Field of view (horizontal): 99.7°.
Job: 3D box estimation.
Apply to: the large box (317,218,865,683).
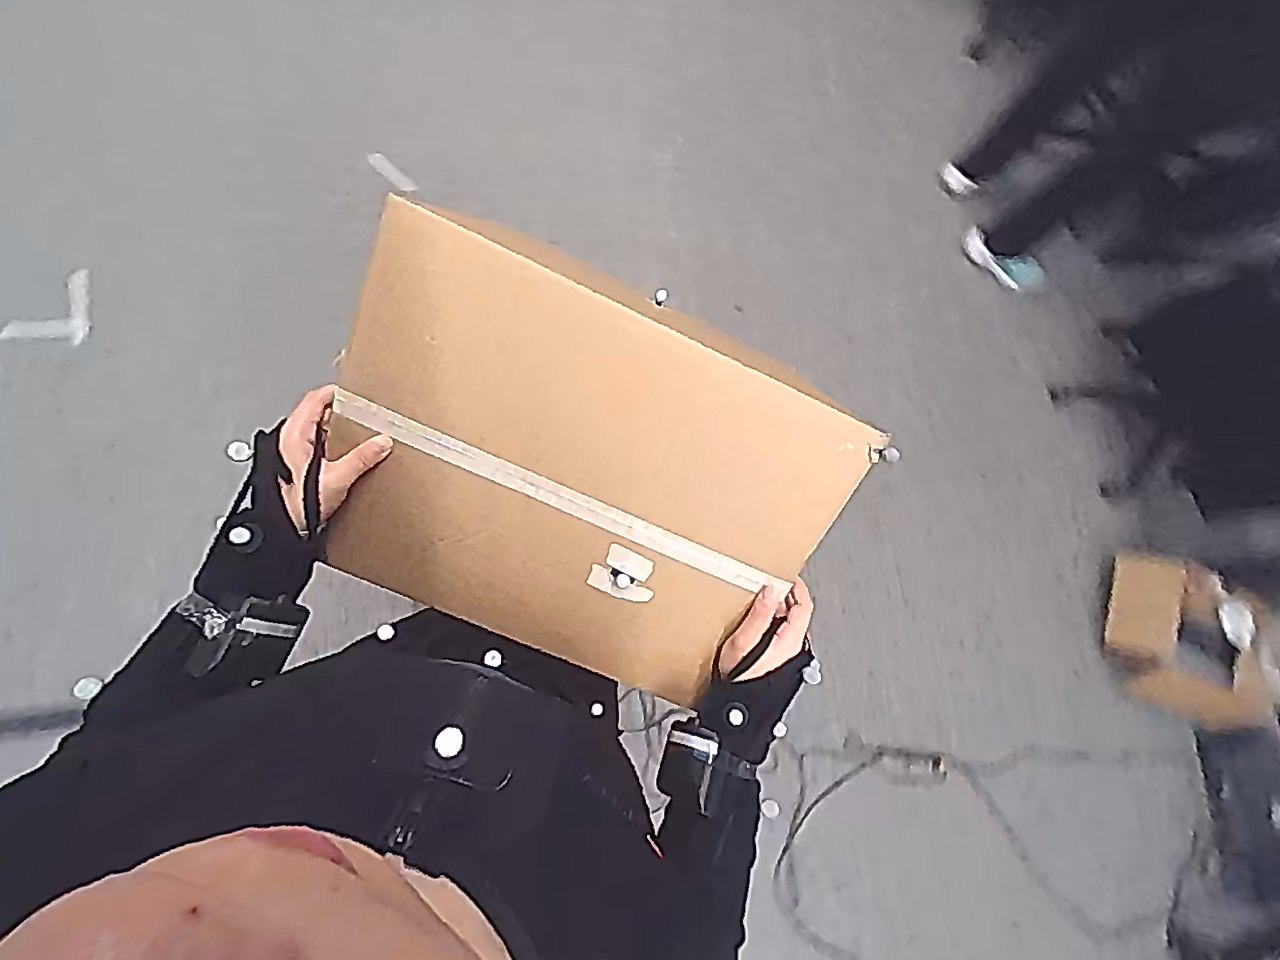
[{"bbox_3d":[-0.056,-0.048,0.601,0.408,0.320,0.320,21,112,-8],"label":"large box"}]
